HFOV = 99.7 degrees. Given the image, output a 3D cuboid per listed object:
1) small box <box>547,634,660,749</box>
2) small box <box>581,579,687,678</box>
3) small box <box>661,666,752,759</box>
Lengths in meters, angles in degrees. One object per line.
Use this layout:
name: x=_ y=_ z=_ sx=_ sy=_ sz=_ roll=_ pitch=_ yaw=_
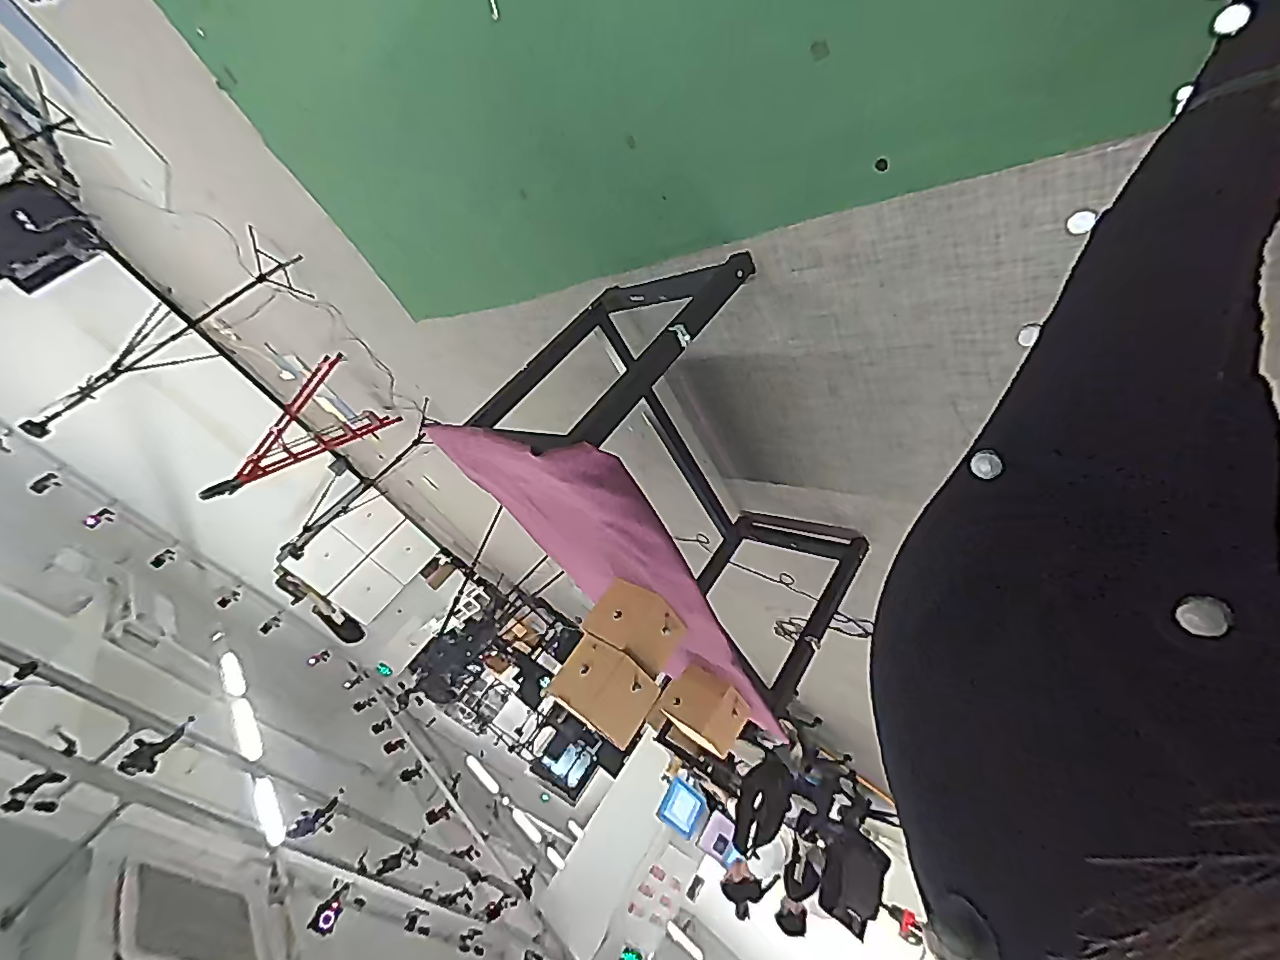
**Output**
small box: x=-0.084 y=0.505 z=1.314 sx=0.168 sy=0.176 sz=0.179 roll=8 pitch=142 yaw=50
small box: x=-0.011 y=0.380 z=1.396 sx=0.179 sy=0.176 sz=0.168 roll=11 pitch=144 yaw=47
small box: x=0.202 y=0.685 z=1.620 sx=0.179 sy=0.176 sz=0.168 roll=10 pitch=144 yaw=50
